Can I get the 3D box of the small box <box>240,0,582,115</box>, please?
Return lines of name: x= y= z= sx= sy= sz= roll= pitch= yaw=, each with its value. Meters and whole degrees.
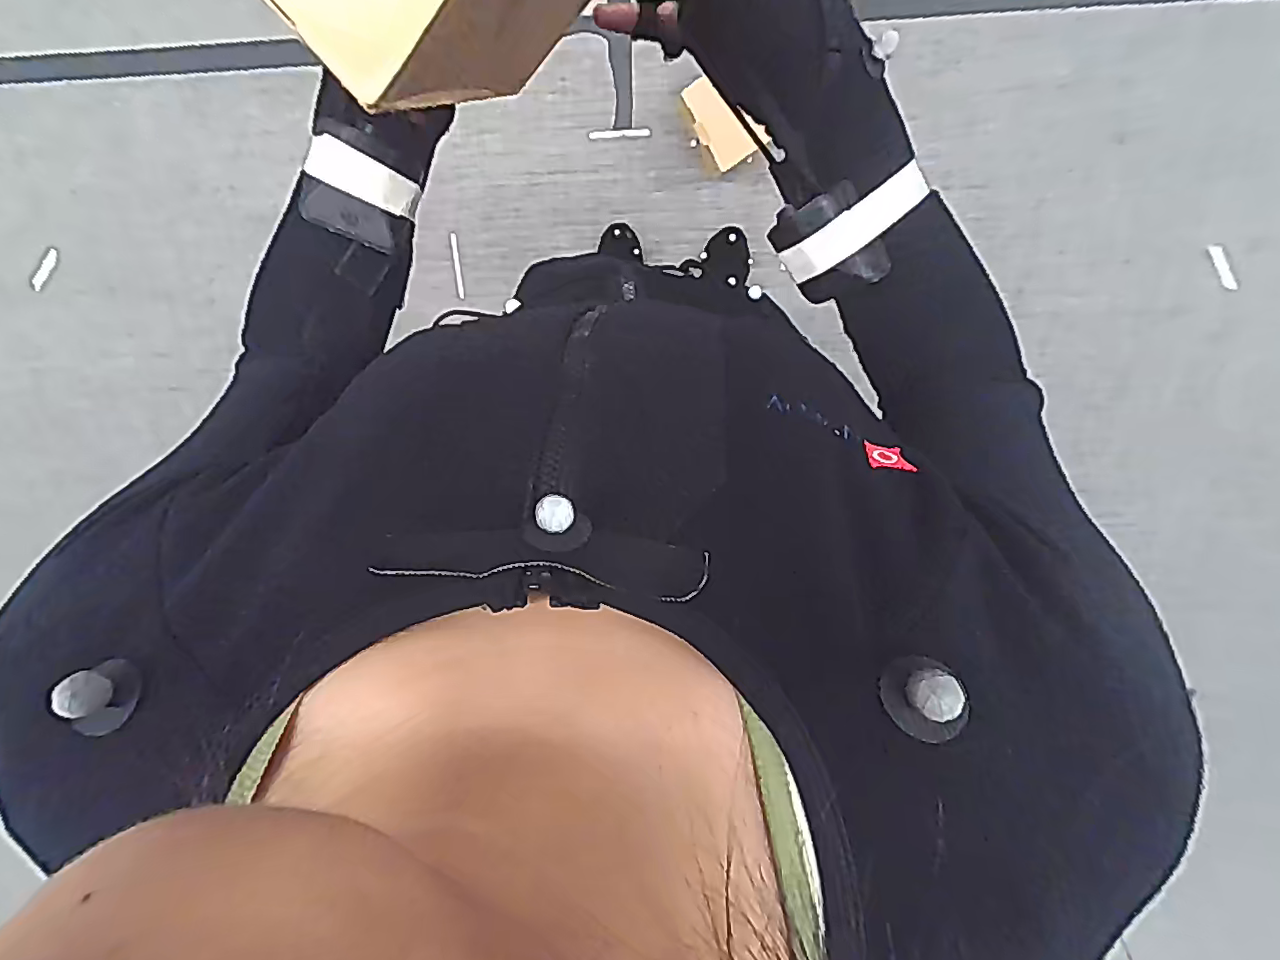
small box: x=-0.080 y=-0.271 z=0.190 sx=0.179 sy=0.176 sz=0.168 roll=-30 pitch=117 yaw=30

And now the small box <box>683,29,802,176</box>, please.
small box: x=0.204 y=-0.759 z=1.114 sx=0.179 sy=0.176 sz=0.168 roll=-31 pitch=109 yaw=16
